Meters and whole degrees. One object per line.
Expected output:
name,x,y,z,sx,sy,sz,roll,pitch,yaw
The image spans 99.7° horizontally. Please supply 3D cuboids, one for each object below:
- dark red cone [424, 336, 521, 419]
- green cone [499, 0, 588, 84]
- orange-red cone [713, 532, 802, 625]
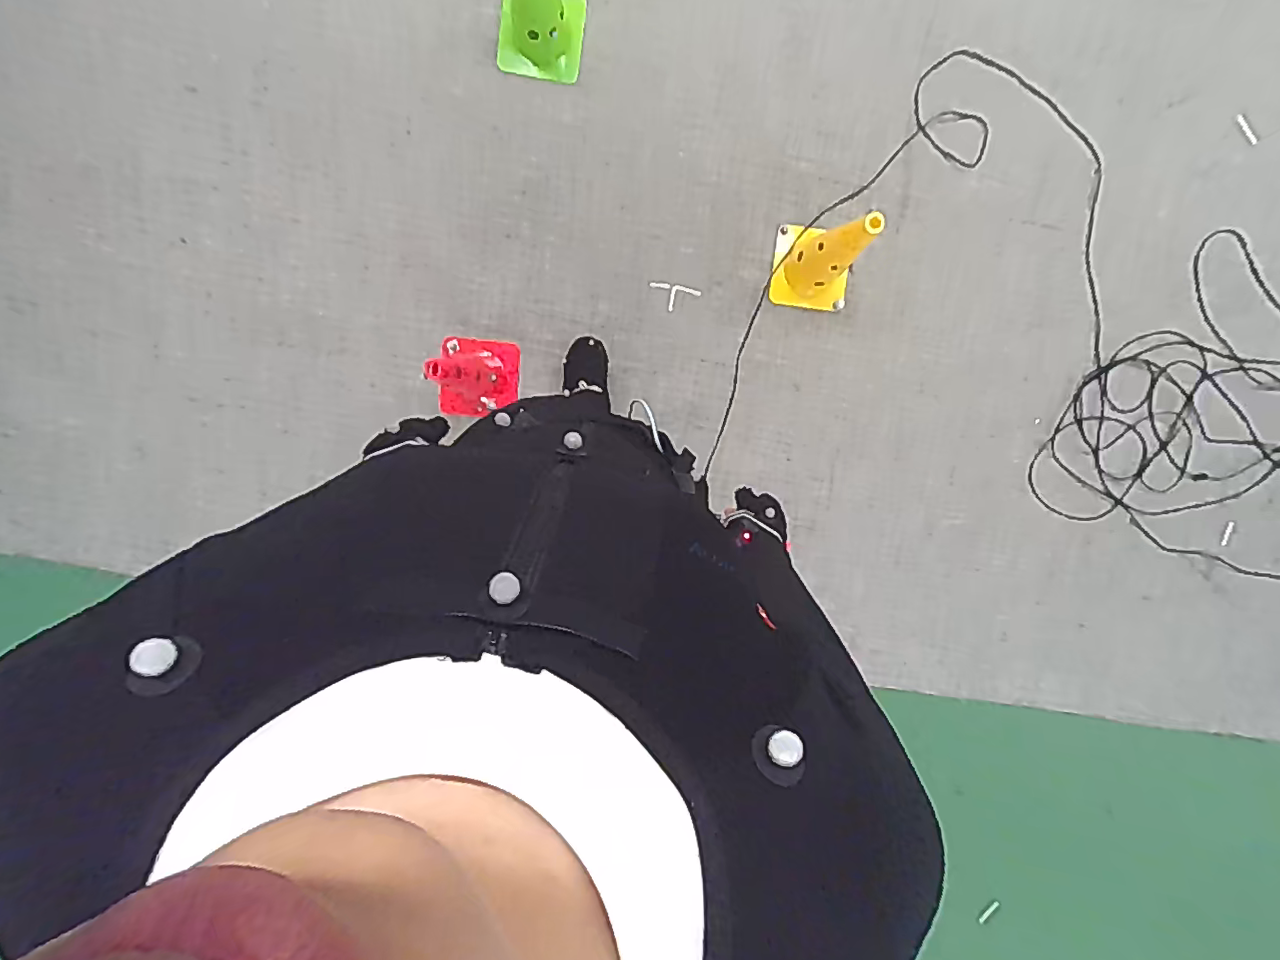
dark red cone,-0.403,-0.236,1.223,0.202,0.394,0.201,4,99,-3
green cone,-0.225,-1.061,1.145,0.202,0.368,0.200,8,98,-5
orange-red cone,0.321,0.272,1.341,0.198,0.360,0.199,10,96,-4
